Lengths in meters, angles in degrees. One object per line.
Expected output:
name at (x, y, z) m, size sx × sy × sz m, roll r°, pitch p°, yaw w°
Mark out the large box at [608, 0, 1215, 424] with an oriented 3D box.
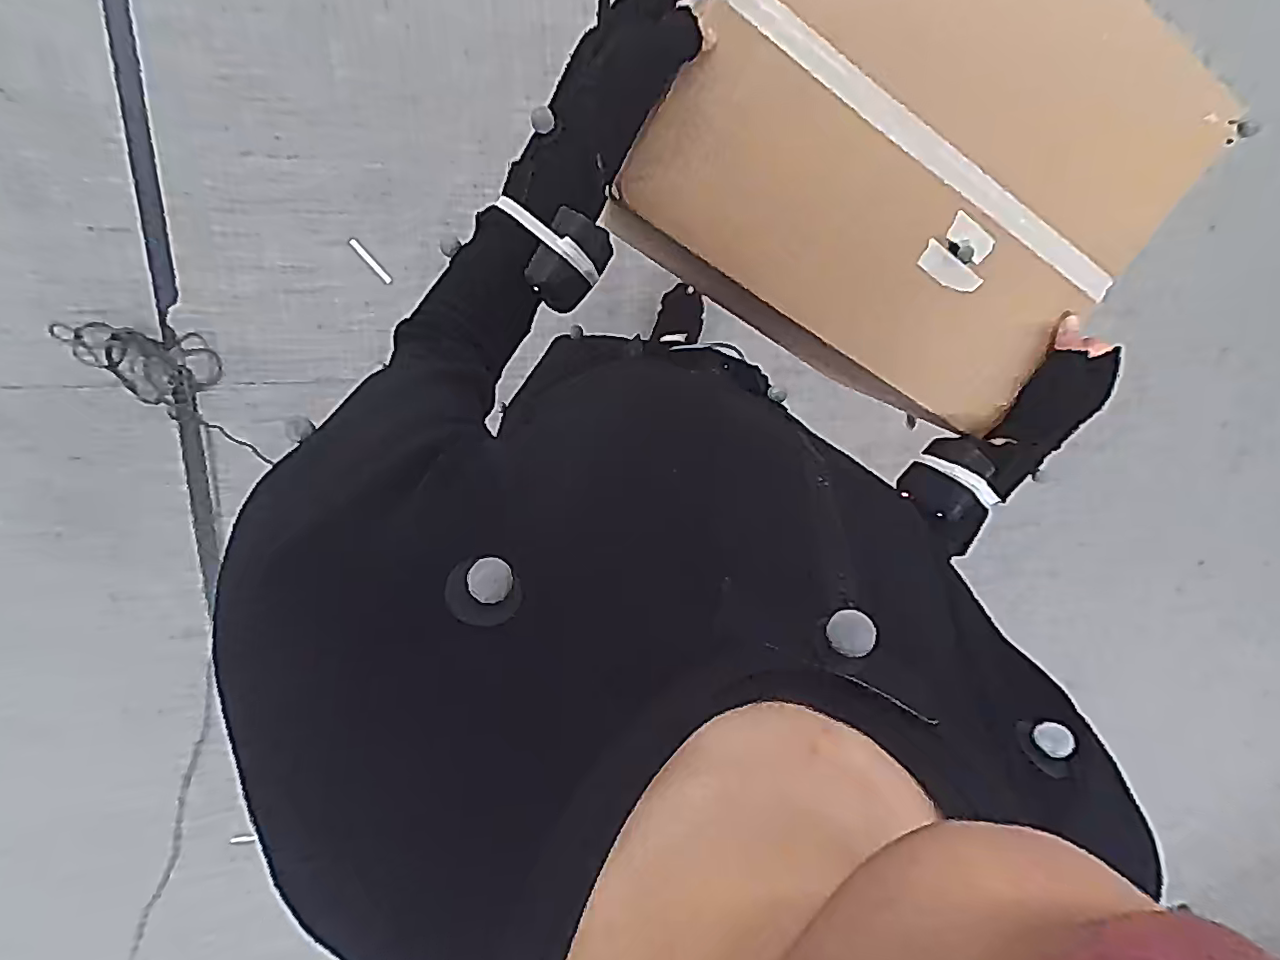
large box at (0.214, -0.316, 0.571) m, size 0.408 × 0.320 × 0.320 m, roll 28°, pitch 107°, yaw -15°
